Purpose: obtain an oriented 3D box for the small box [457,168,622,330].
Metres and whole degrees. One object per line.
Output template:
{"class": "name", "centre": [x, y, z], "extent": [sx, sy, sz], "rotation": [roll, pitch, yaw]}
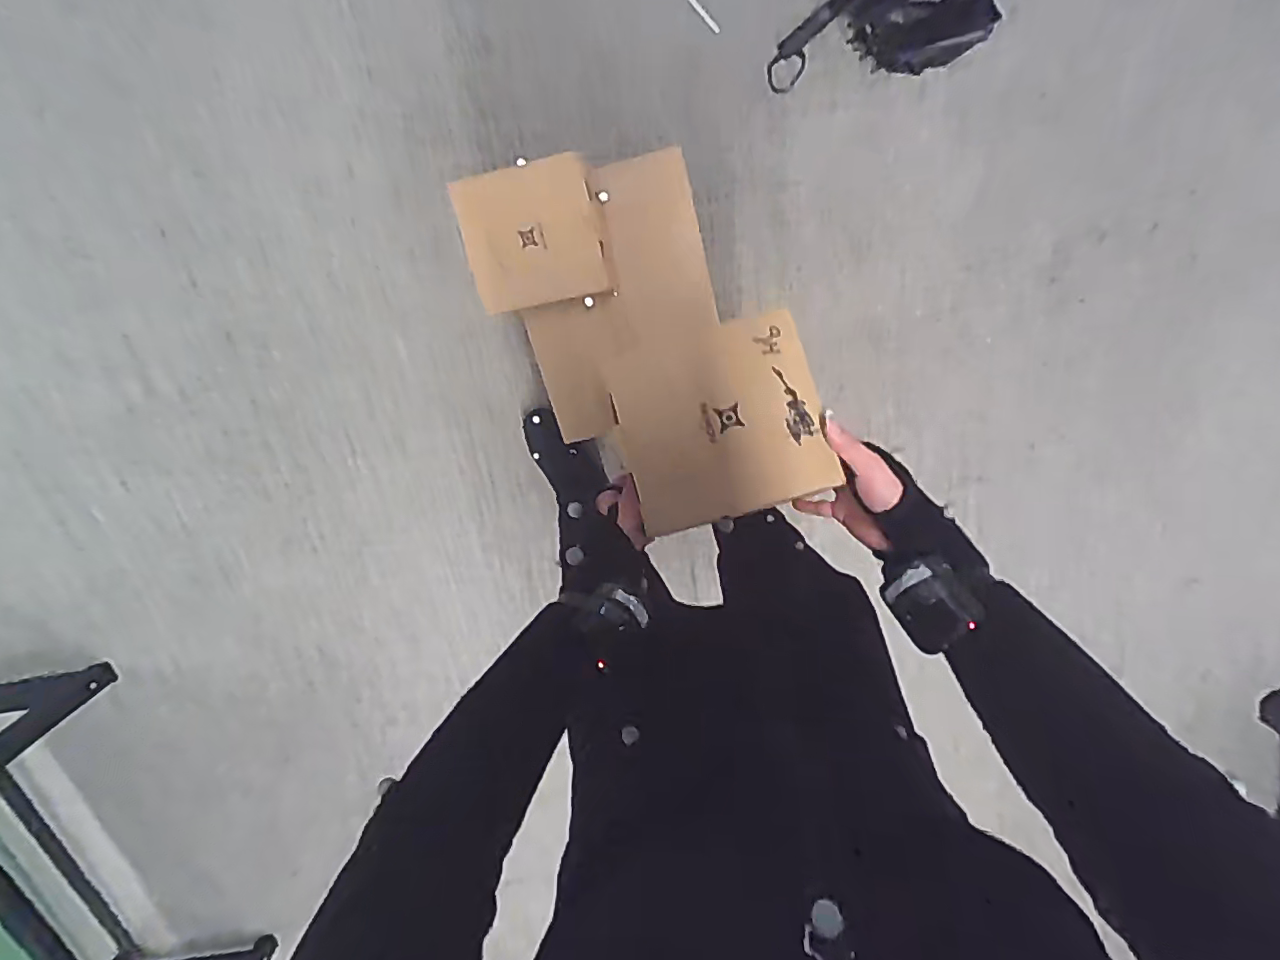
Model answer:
{"class": "small box", "centre": [-0.127, -0.321, 0.774], "extent": [0.179, 0.176, 0.168], "rotation": [-11, 107, 8]}
